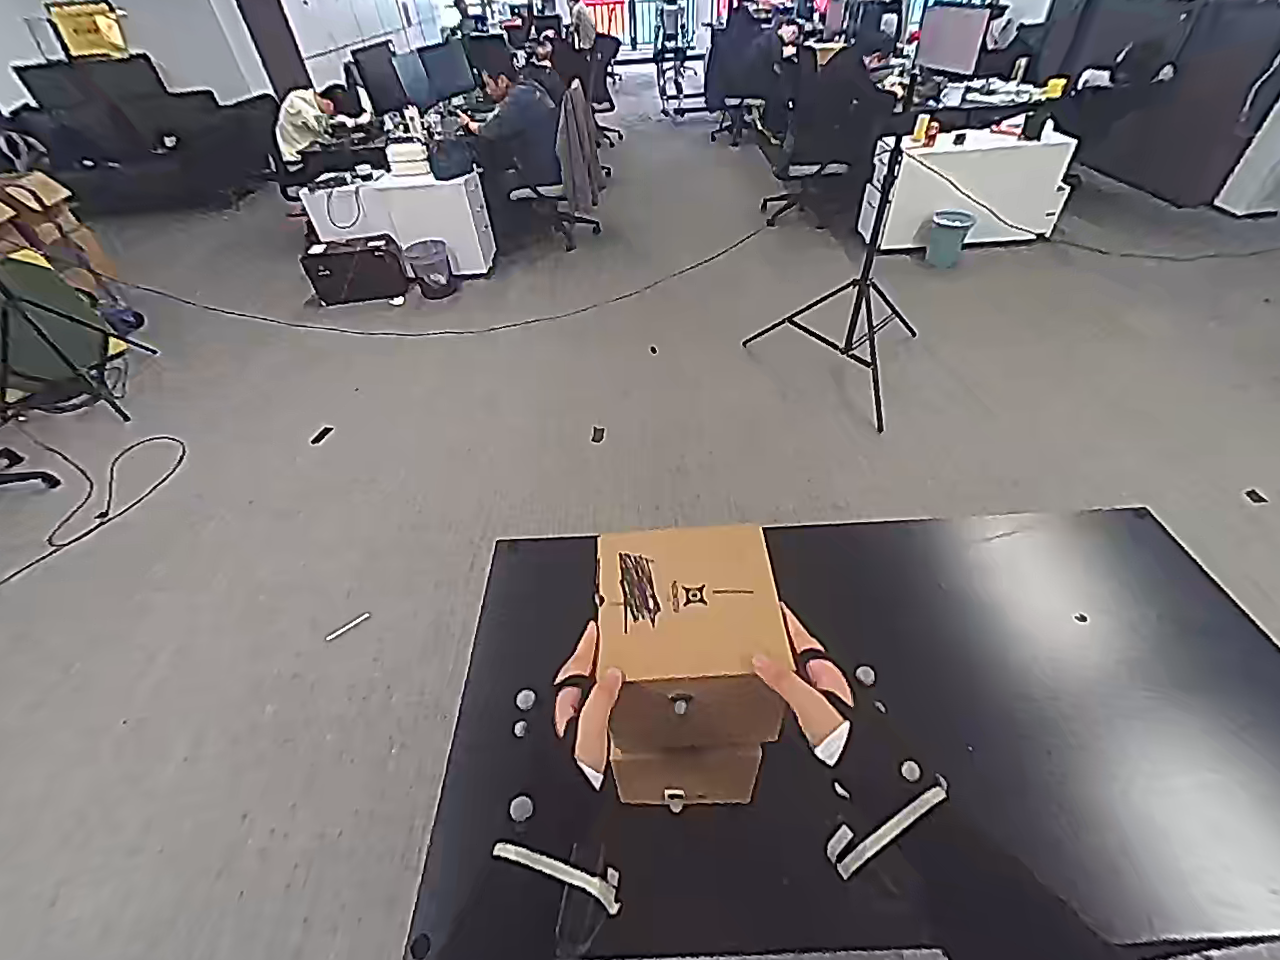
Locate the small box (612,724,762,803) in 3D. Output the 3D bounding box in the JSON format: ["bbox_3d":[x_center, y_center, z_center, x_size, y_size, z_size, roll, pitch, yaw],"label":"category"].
[{"bbox_3d":[0.056,0.294,0.699,0.168,0.176,0.179,-4,44,2],"label":"small box"}]

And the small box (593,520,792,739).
[{"bbox_3d":[0.050,0.163,0.576,0.179,0.176,0.168,-4,46,2],"label":"small box"}]
